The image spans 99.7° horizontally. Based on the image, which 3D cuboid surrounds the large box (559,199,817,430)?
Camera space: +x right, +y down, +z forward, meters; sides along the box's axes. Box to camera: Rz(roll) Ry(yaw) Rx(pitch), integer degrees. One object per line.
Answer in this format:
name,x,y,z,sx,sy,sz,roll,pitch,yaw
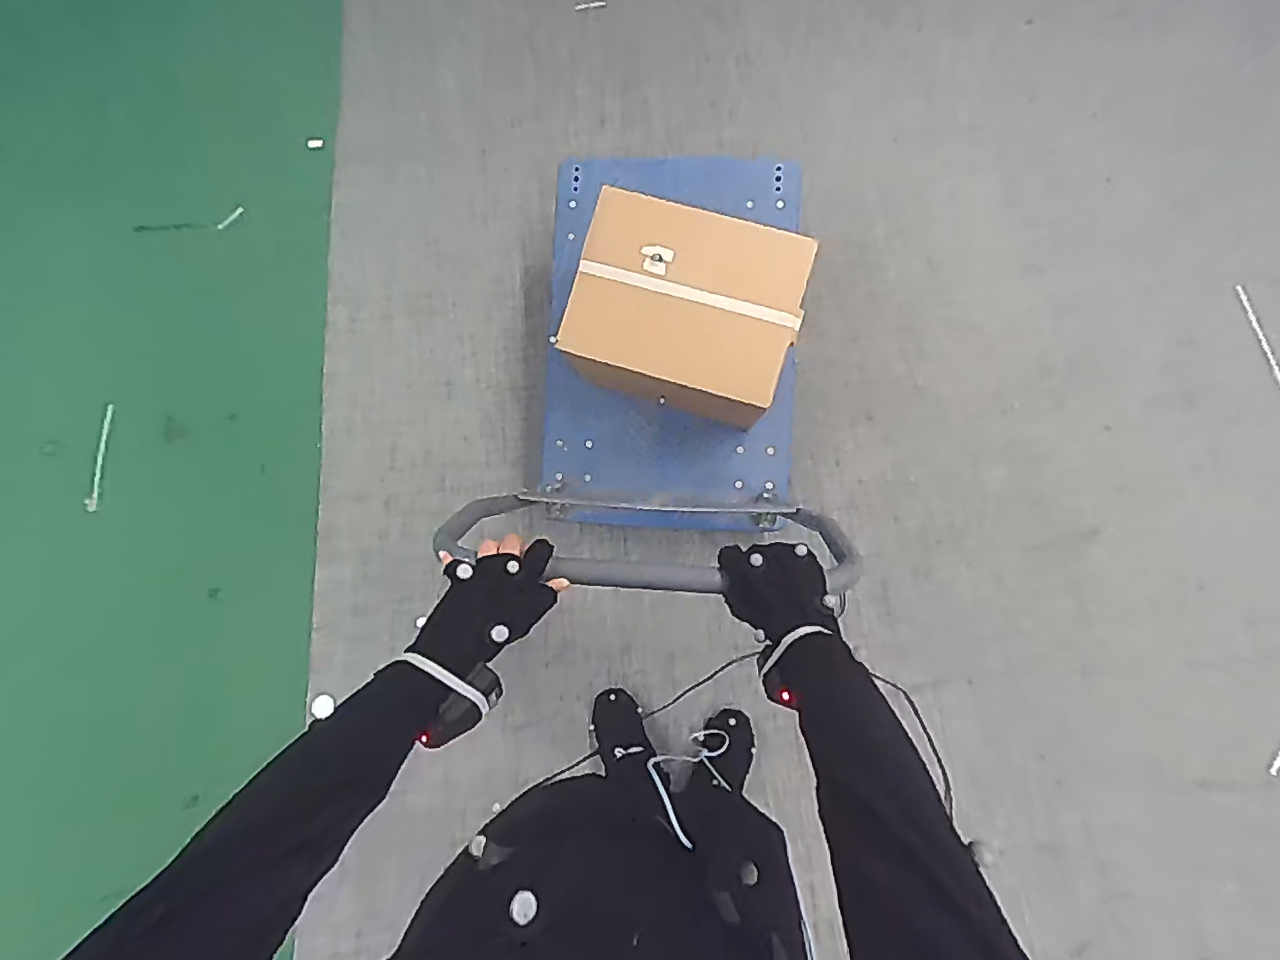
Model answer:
large box,0.098,-0.312,1.115,0.408,0.320,0.320,17,90,6
